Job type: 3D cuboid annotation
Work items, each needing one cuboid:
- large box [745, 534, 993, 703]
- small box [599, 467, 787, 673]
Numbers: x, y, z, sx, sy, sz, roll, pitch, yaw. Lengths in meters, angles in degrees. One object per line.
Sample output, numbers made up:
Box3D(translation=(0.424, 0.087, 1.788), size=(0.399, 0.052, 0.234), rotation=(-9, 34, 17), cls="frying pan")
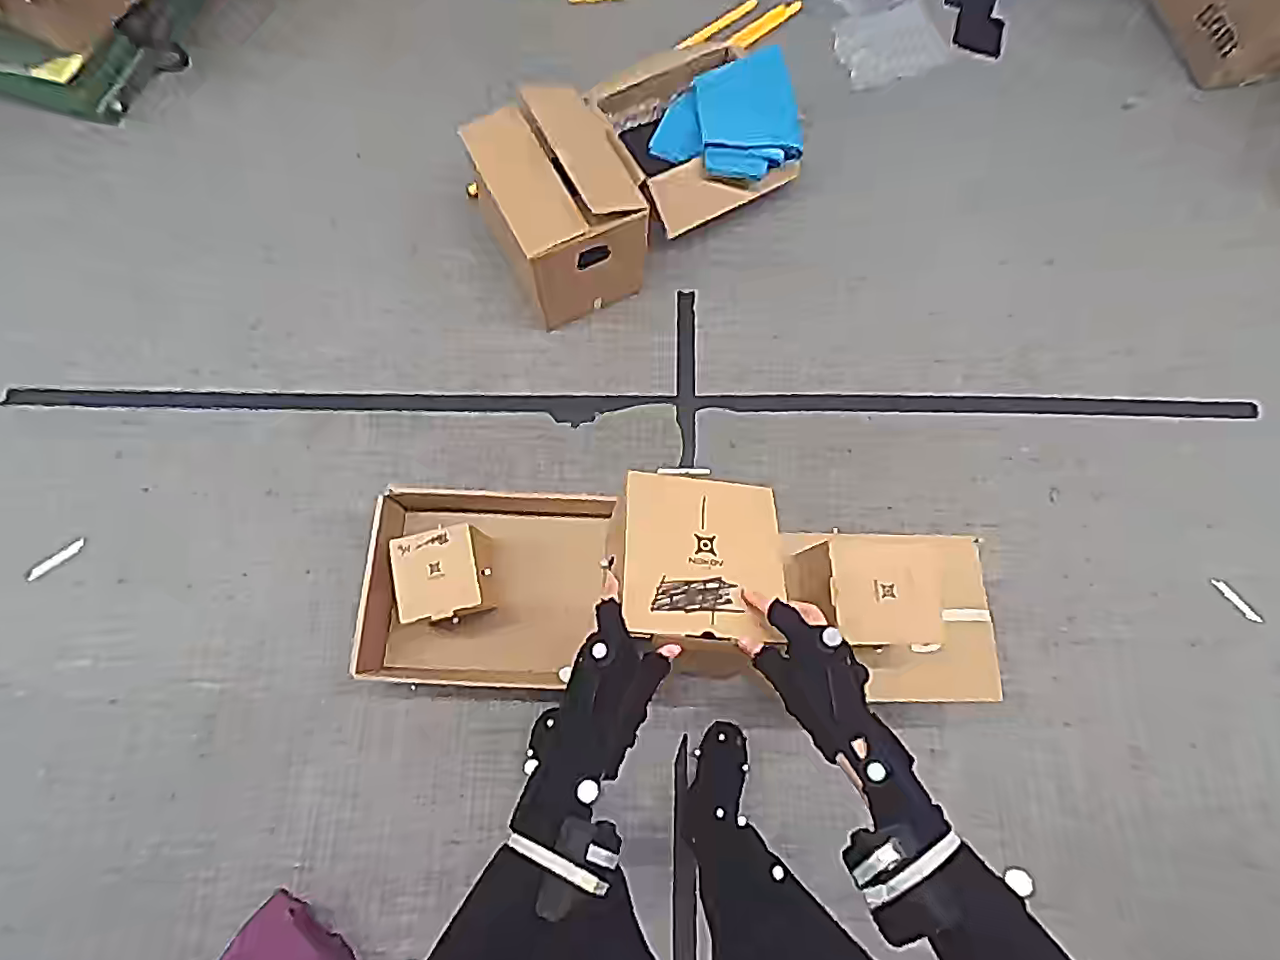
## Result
Box3D(translation=(0.450, 0.299, 1.179), size=(0.408, 0.320, 0.320), rotation=(1, 75, -3), cls="large box")
Box3D(translation=(0.048, 0.110, 0.606), size=(0.168, 0.176, 0.179), rotation=(7, 58, -8), cls="small box")
